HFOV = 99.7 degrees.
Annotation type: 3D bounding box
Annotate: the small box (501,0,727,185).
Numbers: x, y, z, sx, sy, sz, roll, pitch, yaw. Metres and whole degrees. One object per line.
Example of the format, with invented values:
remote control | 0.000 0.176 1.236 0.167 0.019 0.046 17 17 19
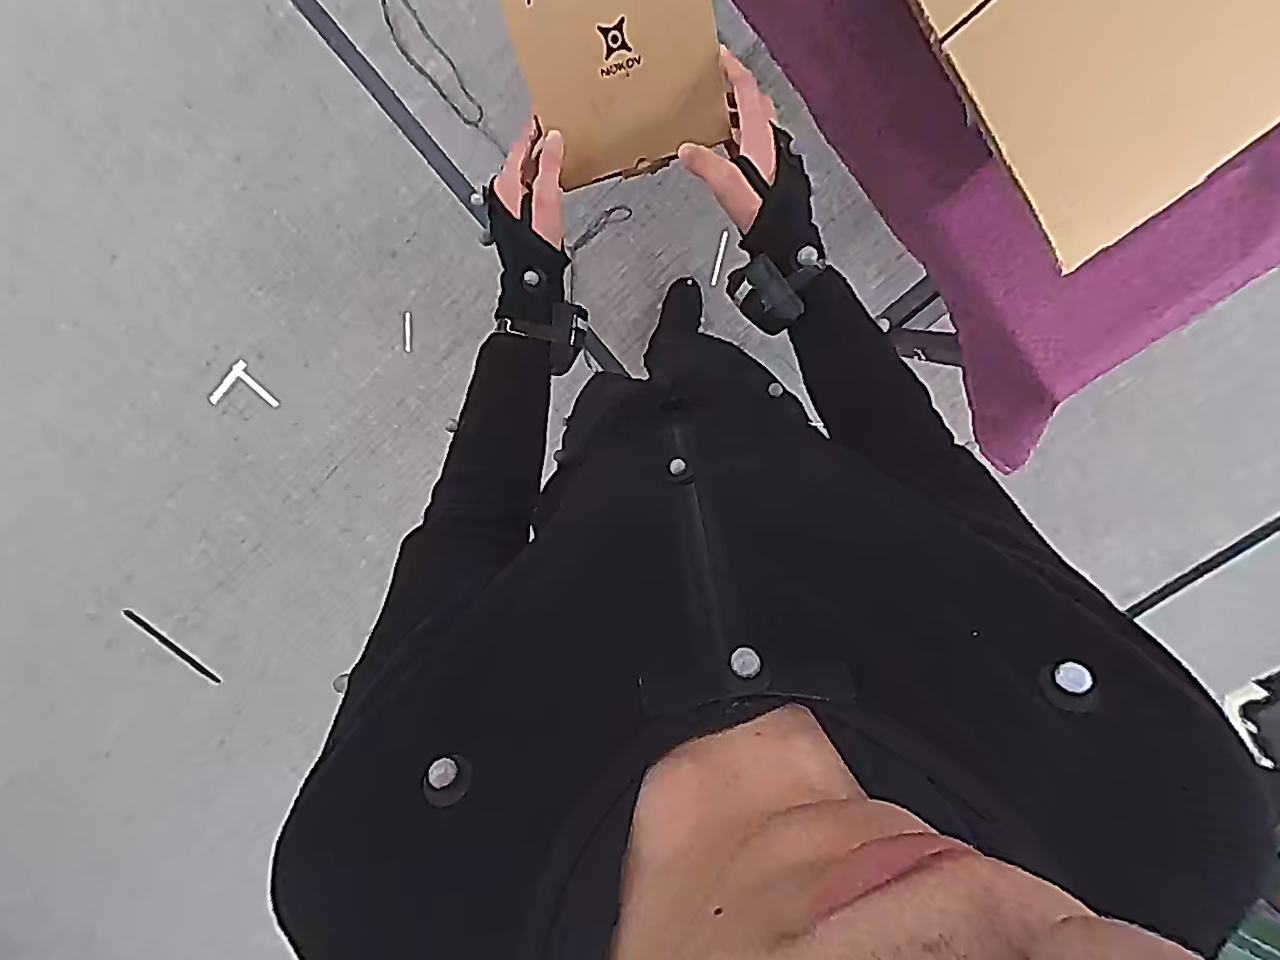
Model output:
small box | -0.015 -0.410 0.510 0.168 0.176 0.179 -10 127 13
